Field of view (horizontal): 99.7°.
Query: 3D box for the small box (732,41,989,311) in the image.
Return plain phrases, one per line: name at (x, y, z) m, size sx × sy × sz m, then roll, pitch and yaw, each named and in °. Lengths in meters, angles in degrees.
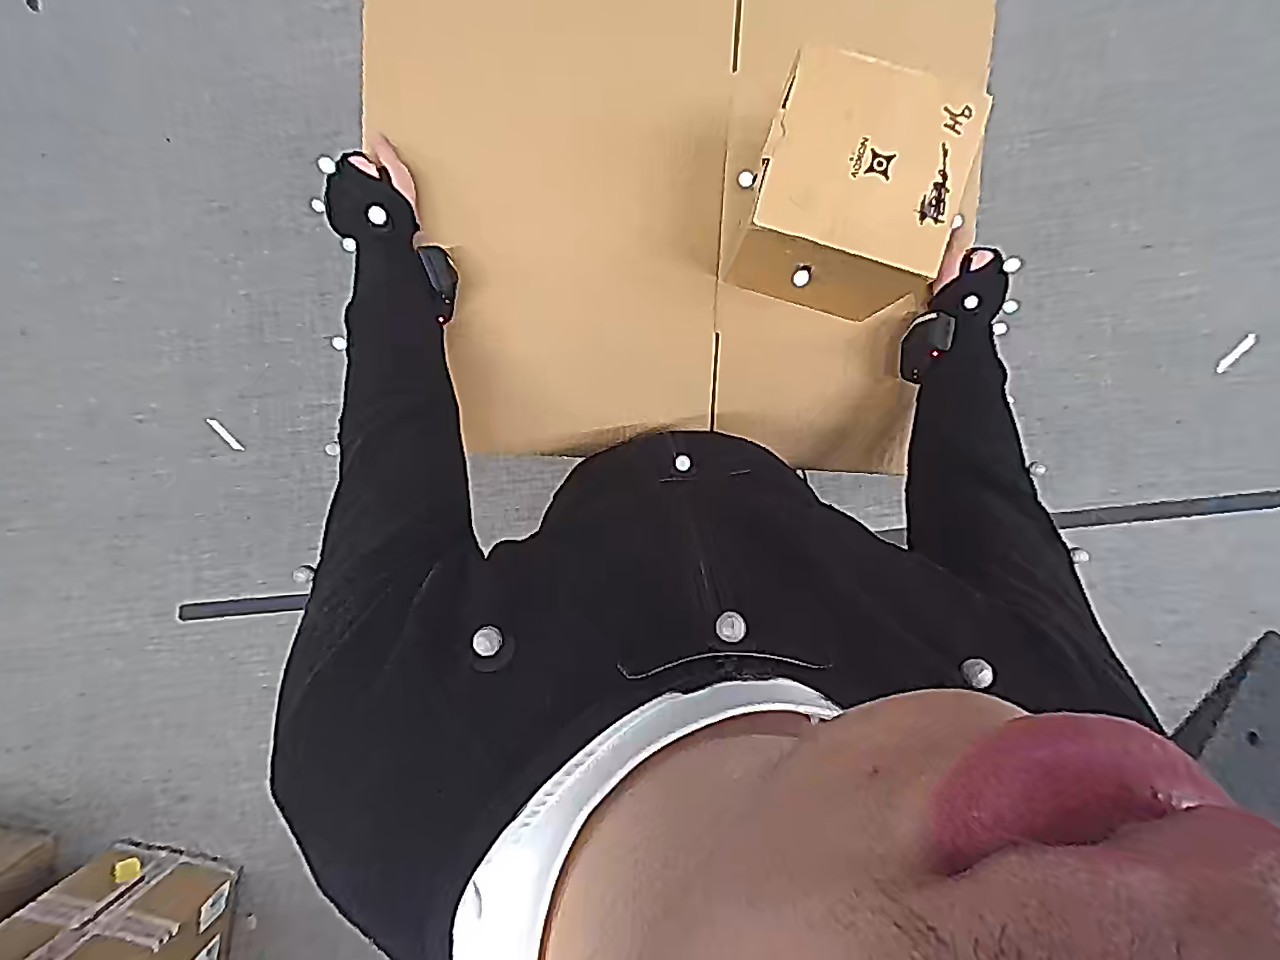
small box at (0.205, -0.292, 0.561) m, size 0.179 × 0.176 × 0.168 m, roll 16°, pitch 94°, yaw 1°
